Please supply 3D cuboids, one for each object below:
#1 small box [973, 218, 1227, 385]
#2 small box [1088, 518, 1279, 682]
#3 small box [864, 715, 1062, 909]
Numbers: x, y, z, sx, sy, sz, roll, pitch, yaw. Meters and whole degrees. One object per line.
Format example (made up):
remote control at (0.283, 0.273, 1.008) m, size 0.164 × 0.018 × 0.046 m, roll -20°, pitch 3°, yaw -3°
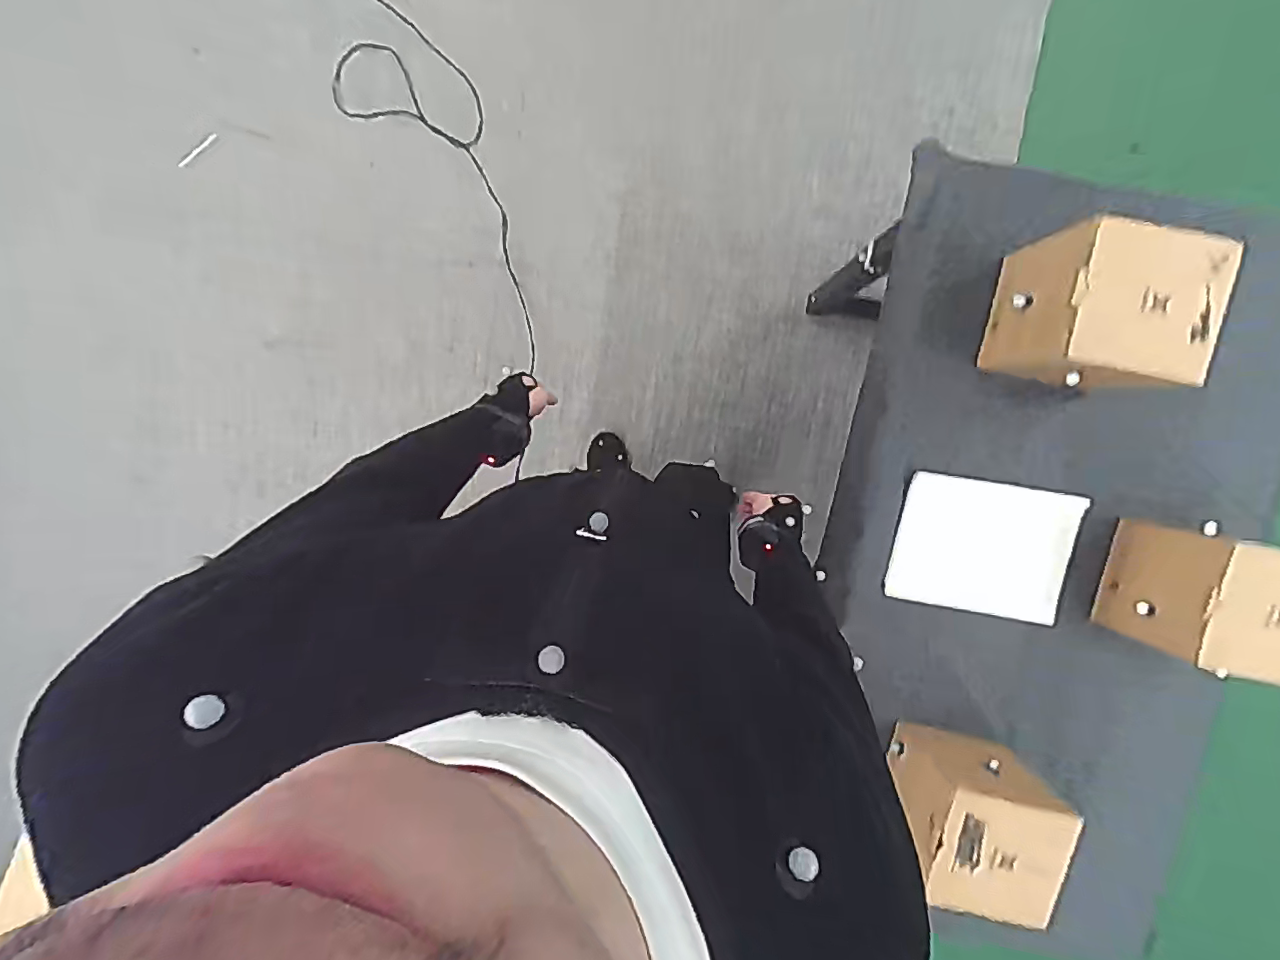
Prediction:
small box at (0.590, -0.223, 0.721) m, size 0.179 × 0.176 × 0.168 m, roll 11°, pitch 98°, yaw -1°
small box at (0.787, 0.157, 0.753) m, size 0.179 × 0.176 × 0.168 m, roll 11°, pitch 98°, yaw -1°
small box at (0.465, 0.482, 0.812) m, size 0.179 × 0.176 × 0.168 m, roll 14°, pitch 97°, yaw -1°
